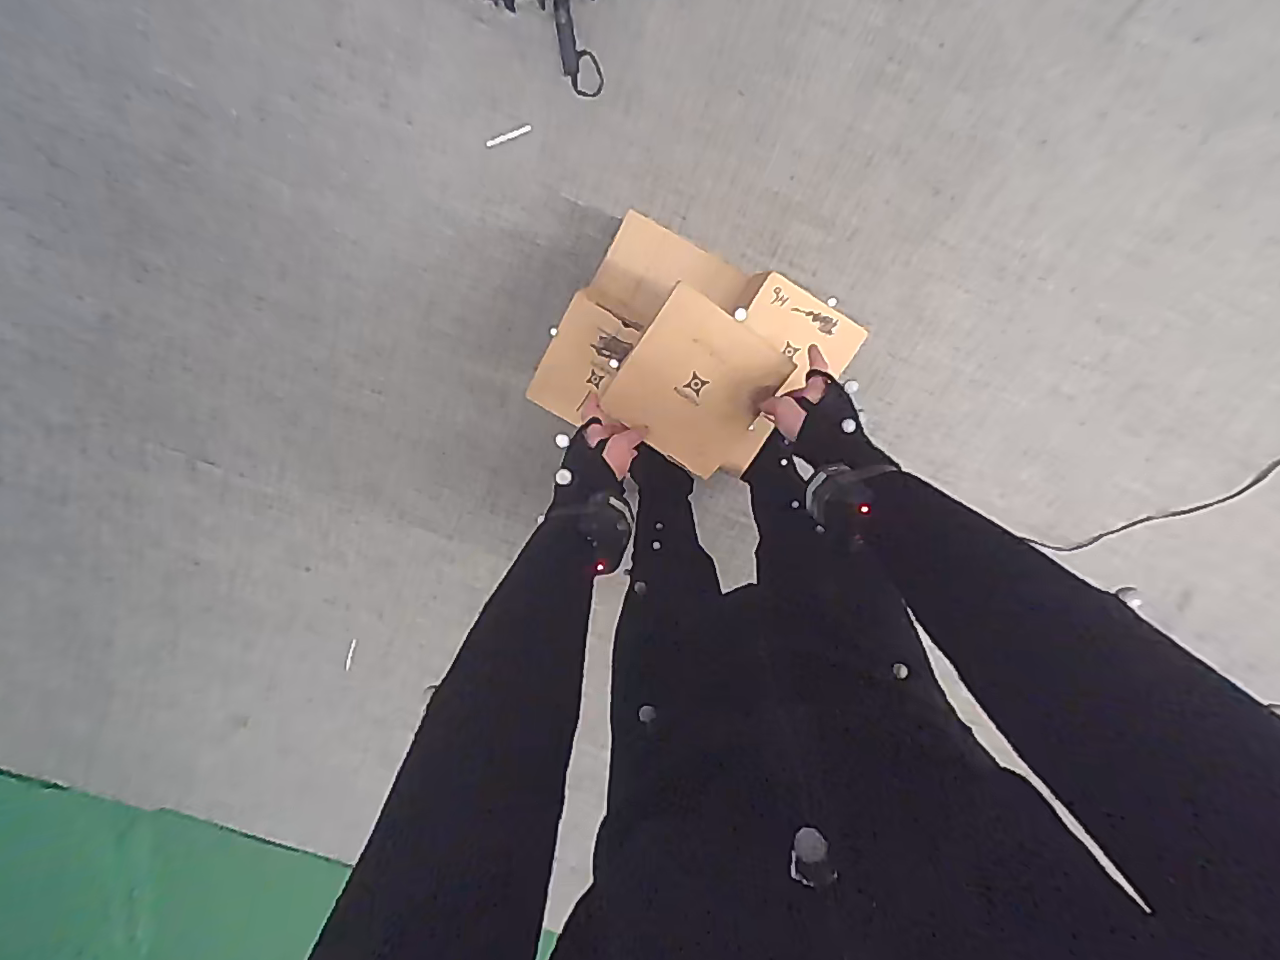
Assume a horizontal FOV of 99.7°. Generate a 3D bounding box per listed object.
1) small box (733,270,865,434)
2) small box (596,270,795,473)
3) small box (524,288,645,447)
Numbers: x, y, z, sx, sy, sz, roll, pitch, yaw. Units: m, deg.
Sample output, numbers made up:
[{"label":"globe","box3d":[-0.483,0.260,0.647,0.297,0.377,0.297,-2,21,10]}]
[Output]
[{"label":"small box","box3d":[0.206,-0.201,0.839,0.168,0.176,0.179,30,107,-7]},{"label":"small box","box3d":[0.065,-0.141,0.692,0.168,0.176,0.179,33,105,-10]},{"label":"small box","box3d":[-0.056,-0.186,0.855,0.168,0.176,0.179,30,110,-8]}]
